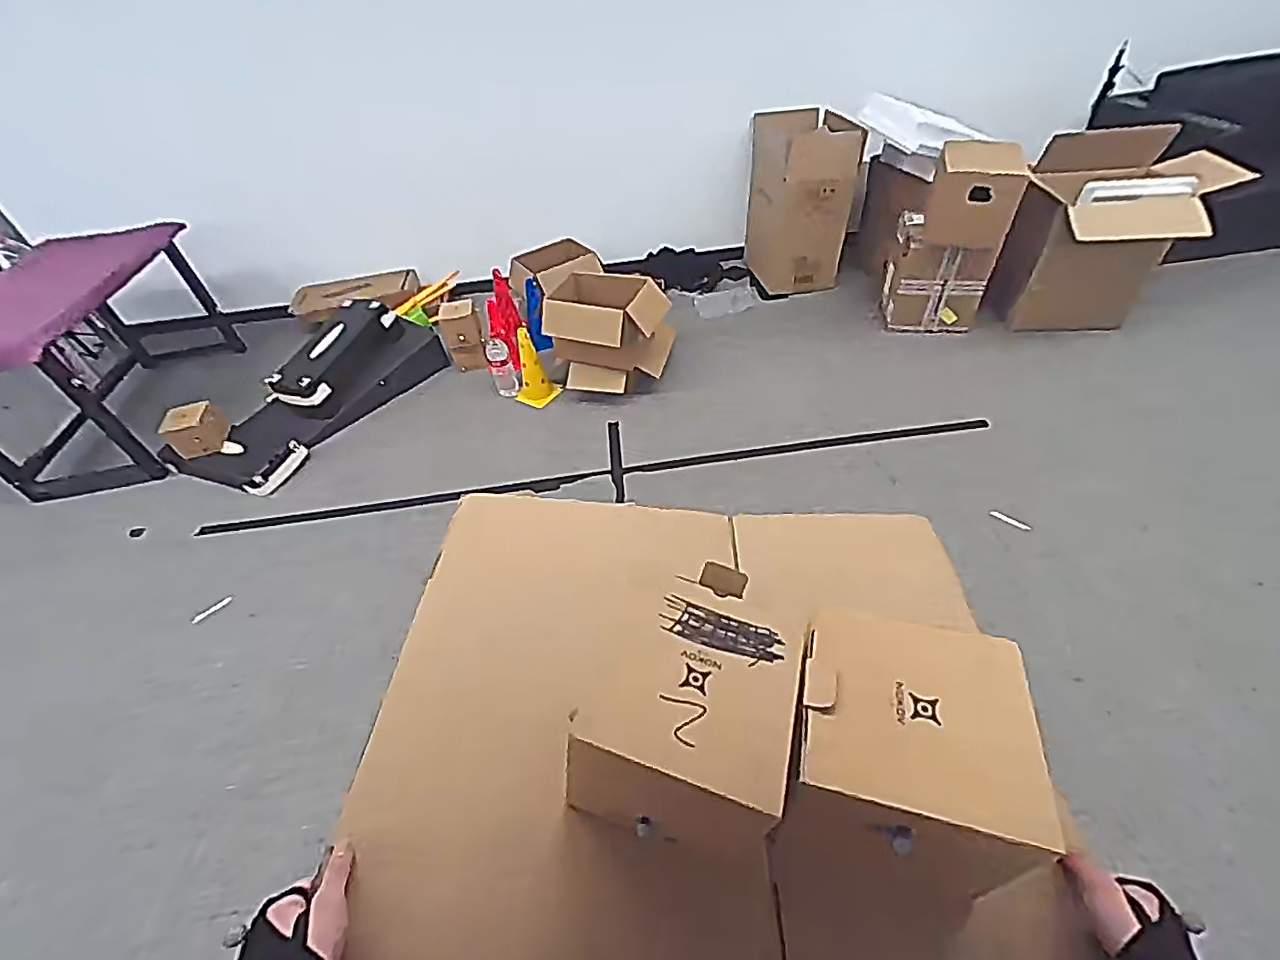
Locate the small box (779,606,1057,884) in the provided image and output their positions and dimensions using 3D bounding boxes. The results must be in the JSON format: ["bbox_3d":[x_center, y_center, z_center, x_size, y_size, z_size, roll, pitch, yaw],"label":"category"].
[{"bbox_3d":[0.235,0.247,0.504,0.179,0.176,0.168,9,45,14],"label":"small box"}]
